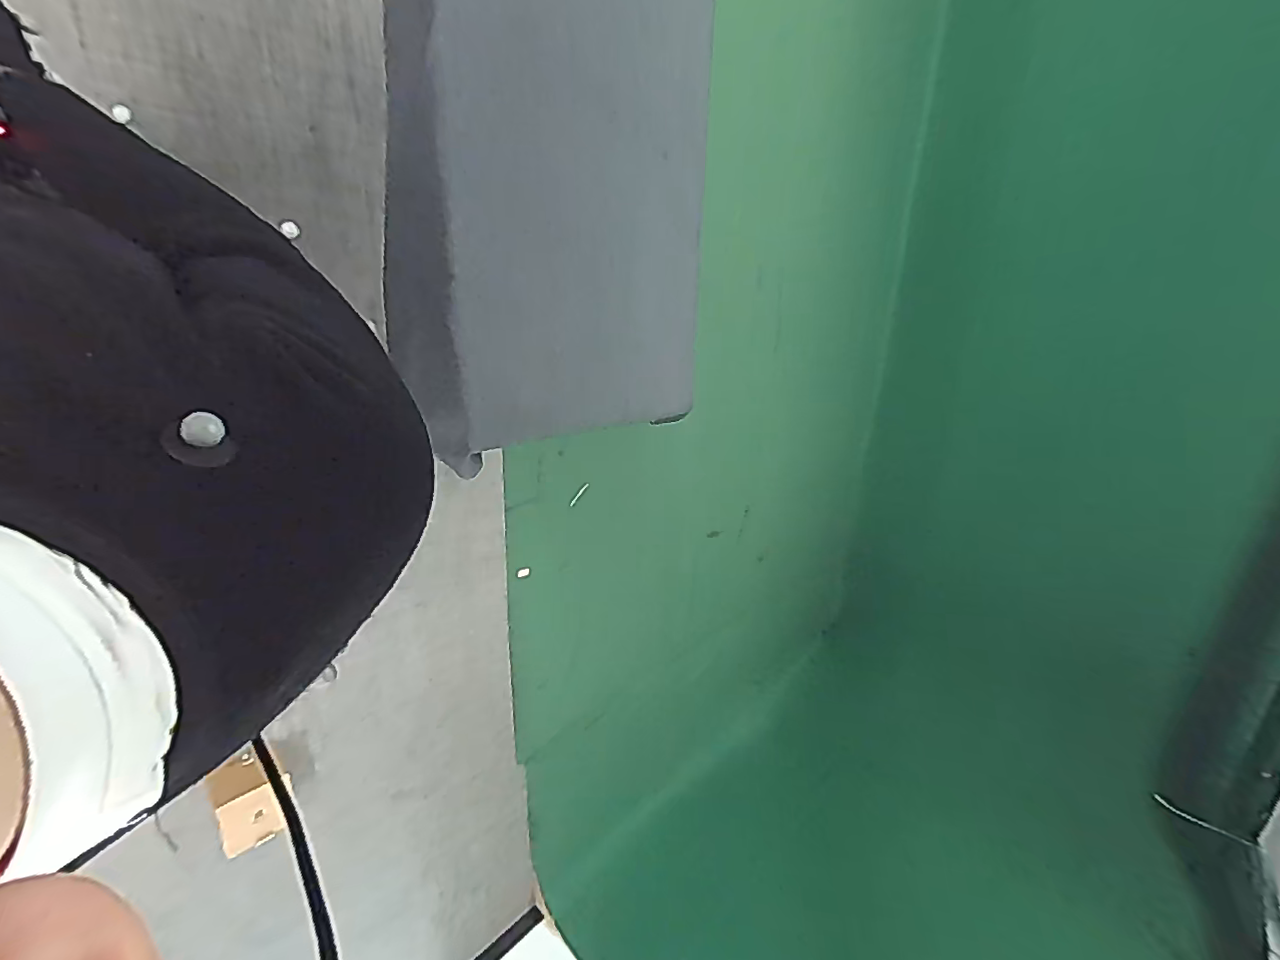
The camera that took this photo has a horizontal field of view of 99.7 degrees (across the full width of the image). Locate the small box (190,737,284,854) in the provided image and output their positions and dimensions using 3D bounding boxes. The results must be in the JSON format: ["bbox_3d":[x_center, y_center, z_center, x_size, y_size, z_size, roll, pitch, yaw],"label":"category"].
[{"bbox_3d":[-1.092,0.845,1.466,0.168,0.176,0.179,-15,116,-46],"label":"small box"}]
